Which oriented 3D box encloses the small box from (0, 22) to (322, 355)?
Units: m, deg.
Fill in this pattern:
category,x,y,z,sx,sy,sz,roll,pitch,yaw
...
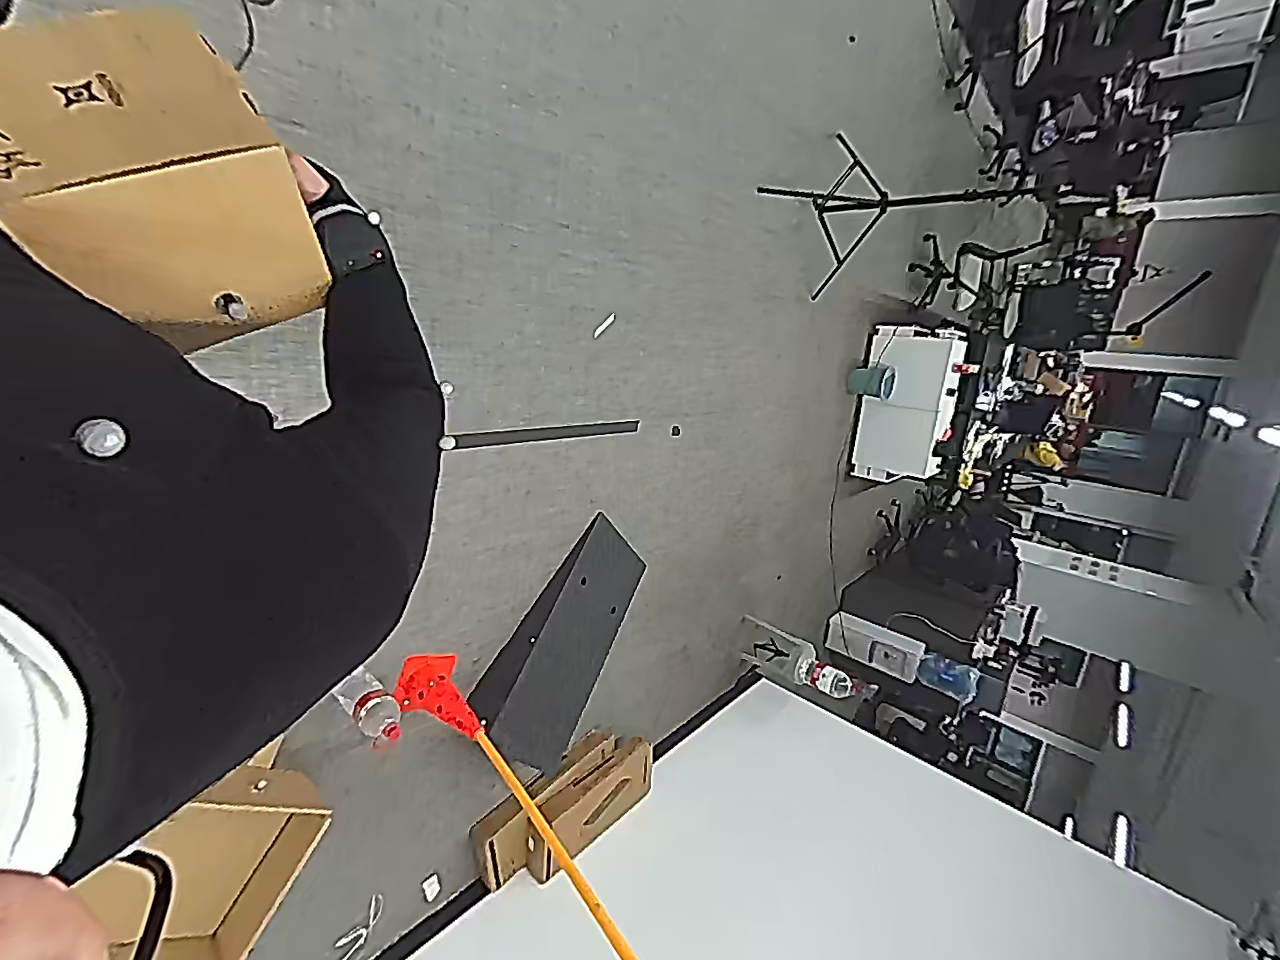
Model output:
category,x,y,z,sx,sy,sz,roll,pitch,yaw
small box,-0.405,-0.241,0.464,0.179,0.168,0.176,-32,166,-26
